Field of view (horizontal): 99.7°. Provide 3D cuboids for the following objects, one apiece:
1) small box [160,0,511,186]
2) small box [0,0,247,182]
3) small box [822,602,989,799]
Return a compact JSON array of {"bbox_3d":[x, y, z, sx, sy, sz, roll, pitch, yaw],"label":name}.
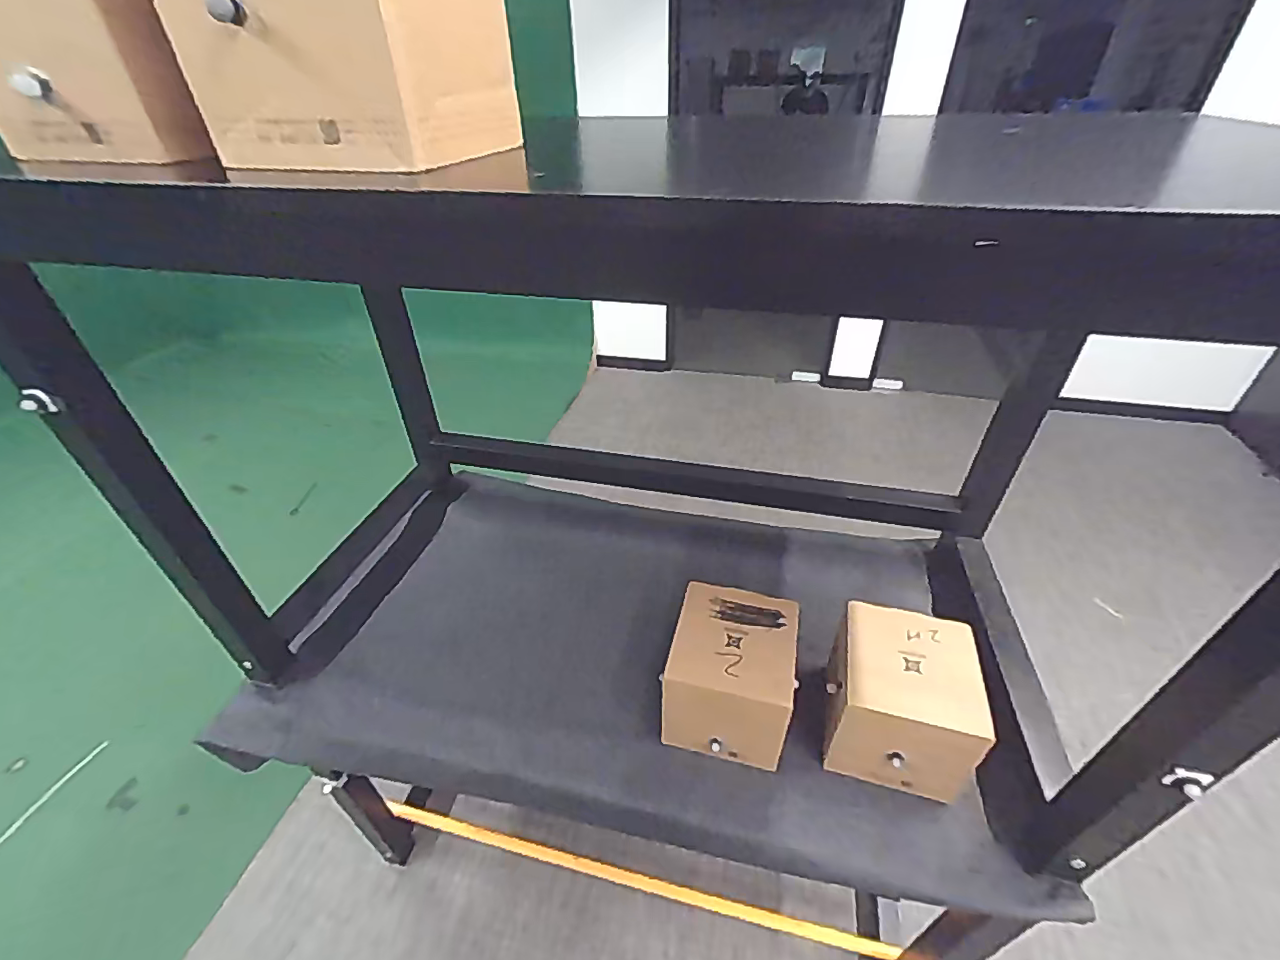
[{"bbox_3d":[-0.214,-0.329,0.411,0.168,0.176,0.179,8,37,13],"label":"small box"},{"bbox_3d":[-0.429,-0.368,0.467,0.168,0.176,0.179,8,39,12],"label":"small box"},{"bbox_3d":[0.355,0.305,0.755,0.168,0.176,0.179,10,37,15],"label":"small box"}]
